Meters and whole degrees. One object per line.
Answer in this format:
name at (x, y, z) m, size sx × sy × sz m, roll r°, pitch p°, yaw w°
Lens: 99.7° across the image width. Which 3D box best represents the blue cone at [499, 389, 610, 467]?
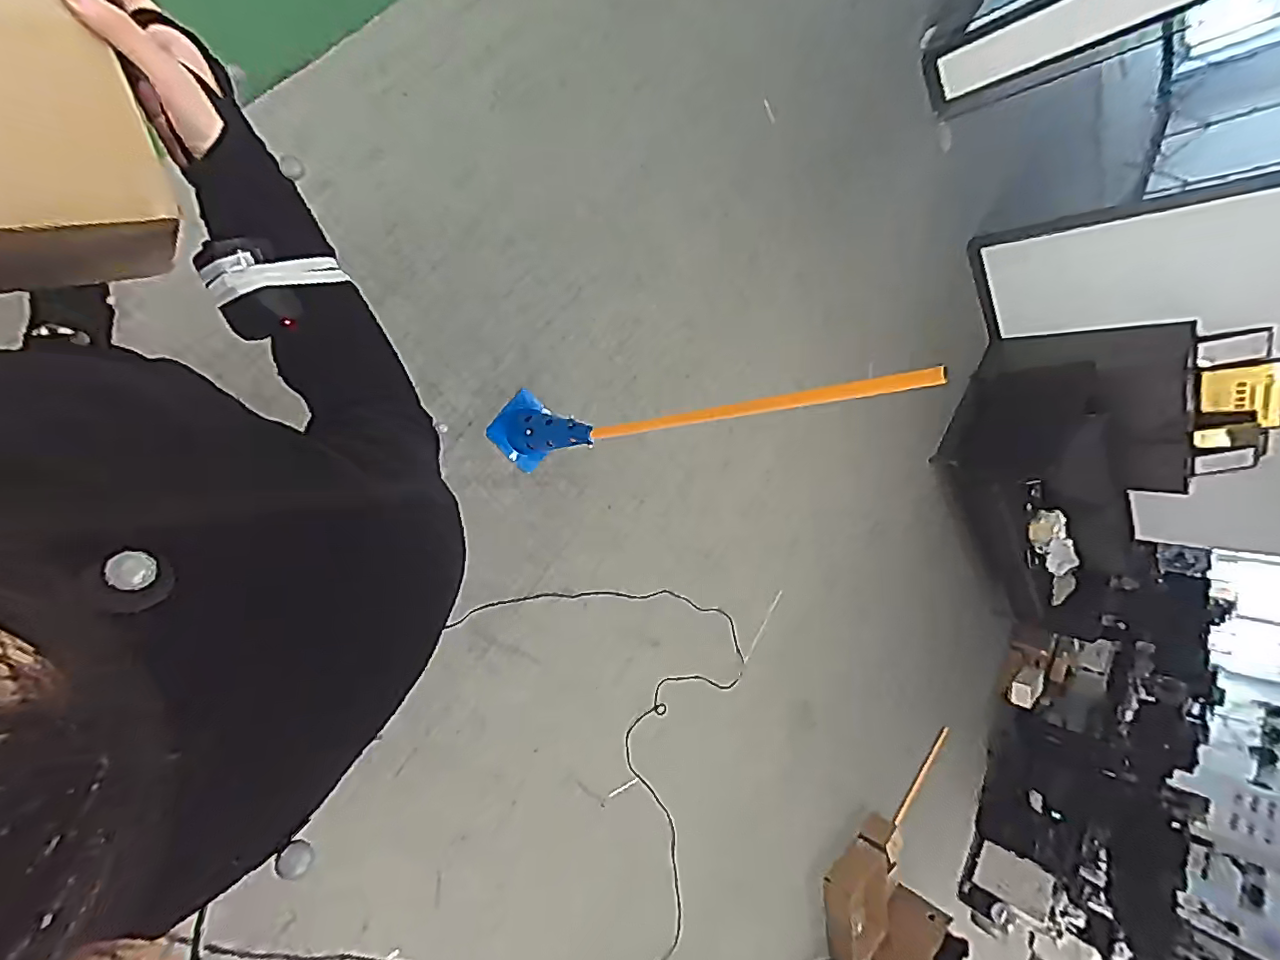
blue cone at (-0.220, -0.148, 1.537) m, size 0.192 × 0.380 × 0.193 m, roll 46°, pitch 65°, yaw -34°
